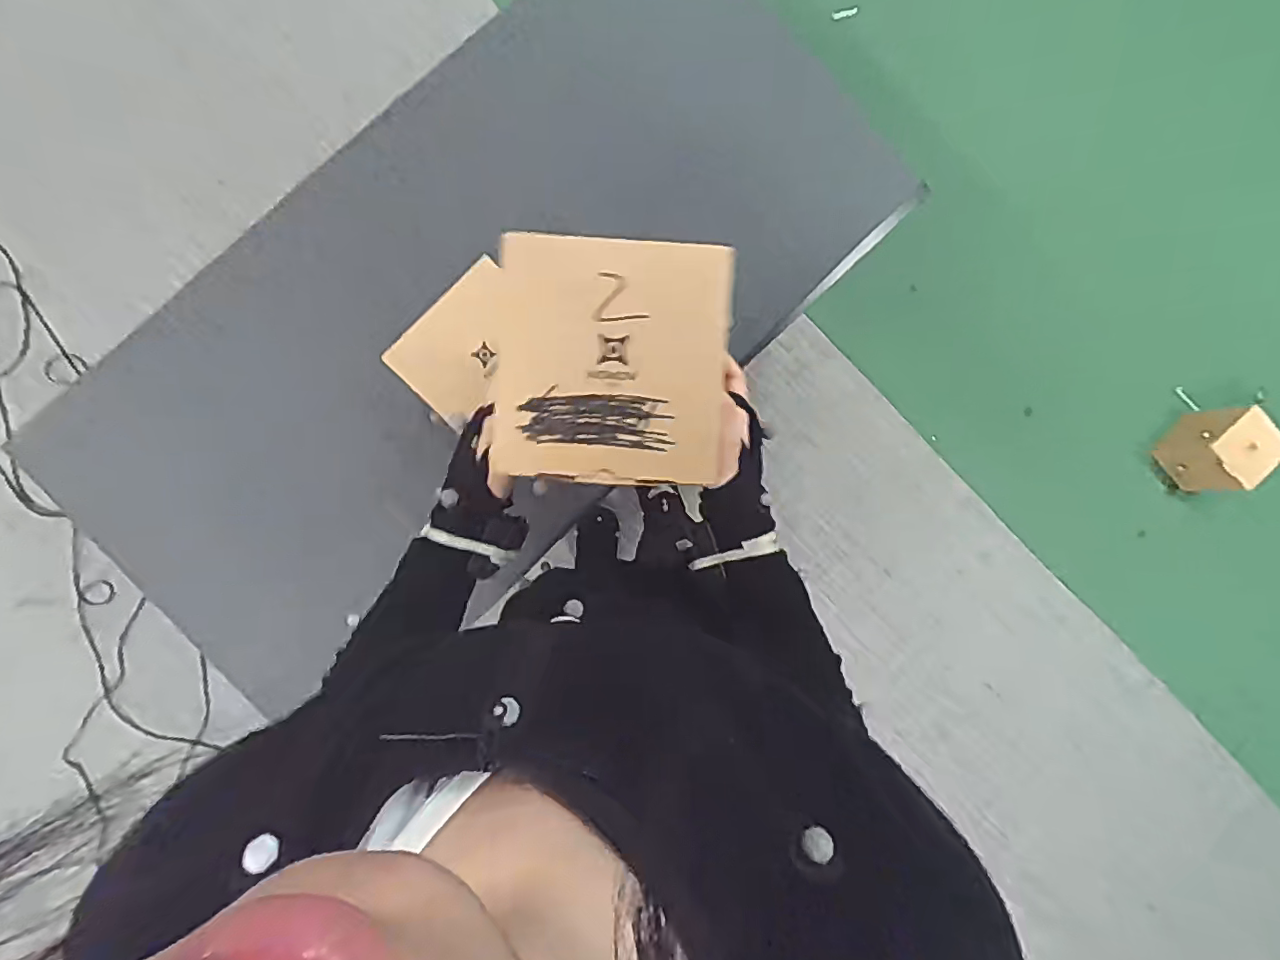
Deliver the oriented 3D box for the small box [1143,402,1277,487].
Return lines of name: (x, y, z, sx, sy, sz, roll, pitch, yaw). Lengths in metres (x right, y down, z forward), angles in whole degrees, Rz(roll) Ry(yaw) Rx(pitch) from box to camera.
small box: (1.607, -0.098, 1.536, 0.179, 0.176, 0.168, -42, 93, -2)

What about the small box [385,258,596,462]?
small box: (-0.173, -0.134, 0.686, 0.179, 0.176, 0.168, 44, 88, -2)
